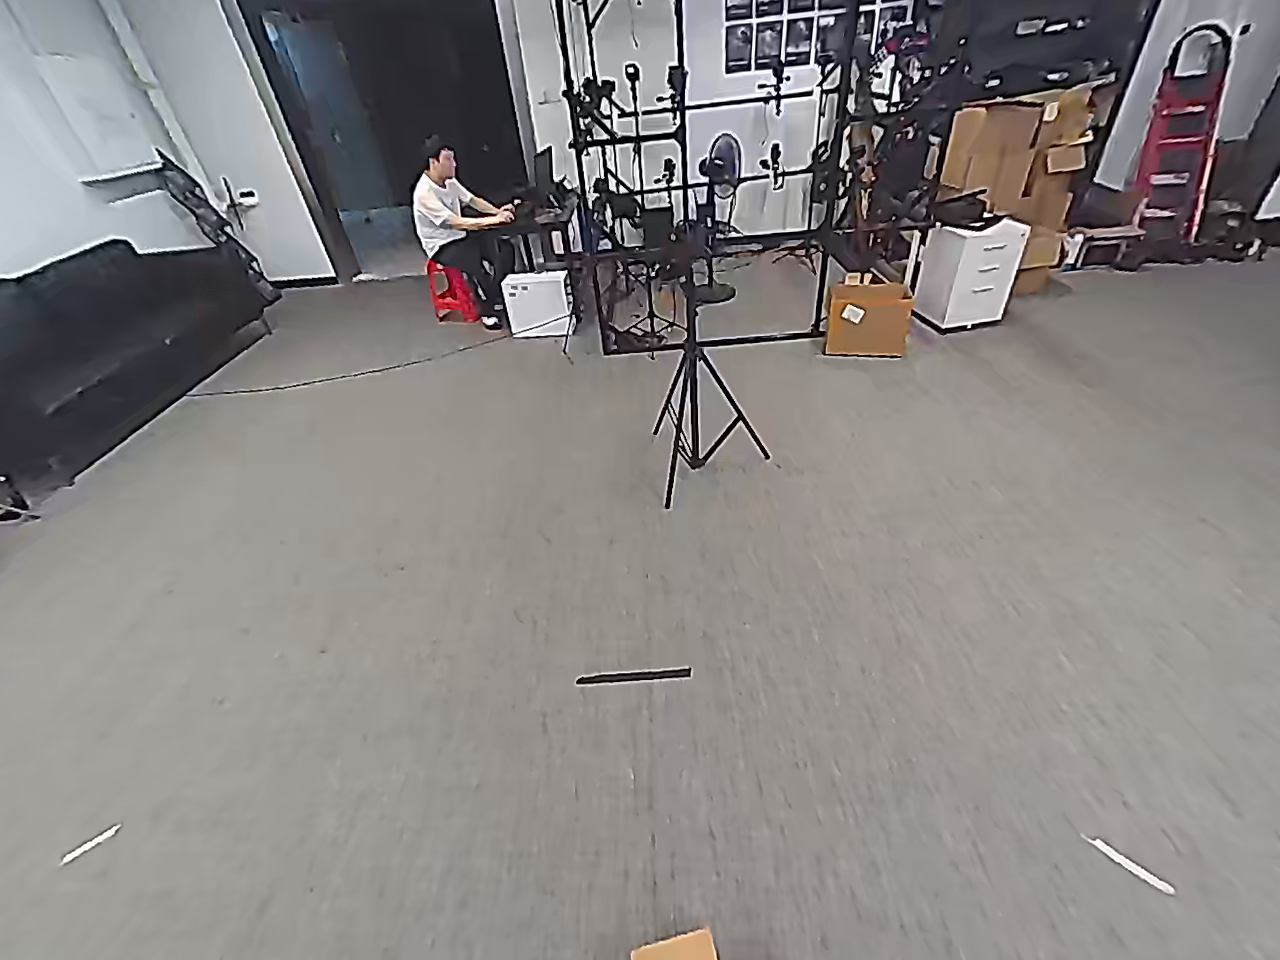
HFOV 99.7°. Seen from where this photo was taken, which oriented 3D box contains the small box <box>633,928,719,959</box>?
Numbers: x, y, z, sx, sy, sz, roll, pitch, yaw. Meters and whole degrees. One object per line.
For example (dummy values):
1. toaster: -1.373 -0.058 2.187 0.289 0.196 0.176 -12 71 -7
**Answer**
1. small box: 0.086 1.017 1.043 0.168 0.176 0.179 -12 38 -6
